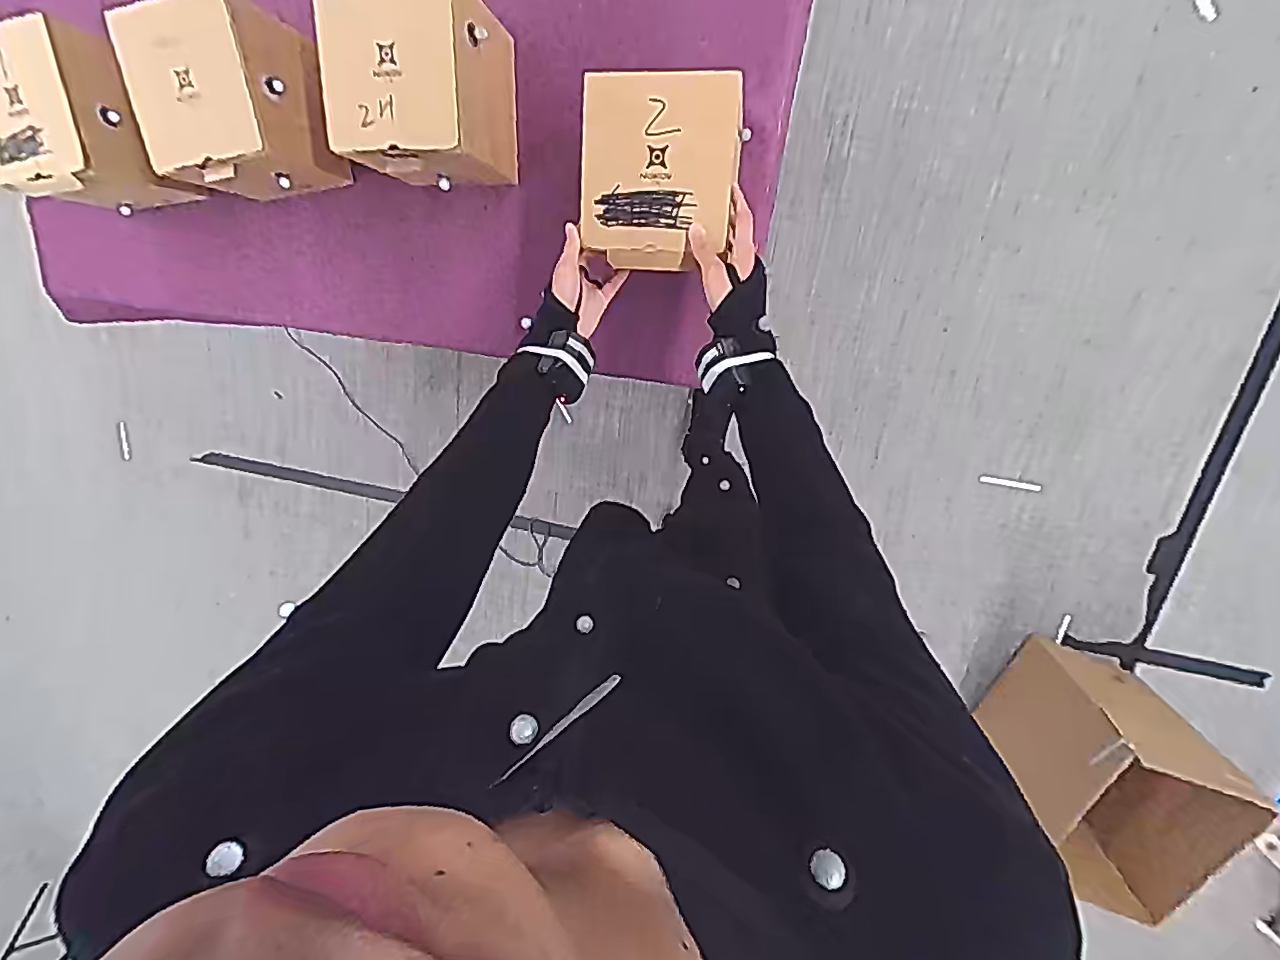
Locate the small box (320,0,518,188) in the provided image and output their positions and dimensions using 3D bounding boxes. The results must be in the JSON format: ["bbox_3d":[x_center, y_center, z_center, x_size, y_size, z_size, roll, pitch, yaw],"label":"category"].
[{"bbox_3d":[-0.262,-0.483,0.678,0.168,0.176,0.179,5,107,9],"label":"small box"}]

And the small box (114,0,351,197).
[{"bbox_3d":[-0.523,-0.494,0.724,0.168,0.176,0.179,-3,105,11],"label":"small box"}]

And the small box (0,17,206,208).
[{"bbox_3d":[-0.771,-0.498,0.767,0.168,0.176,0.179,-2,105,10],"label":"small box"}]
